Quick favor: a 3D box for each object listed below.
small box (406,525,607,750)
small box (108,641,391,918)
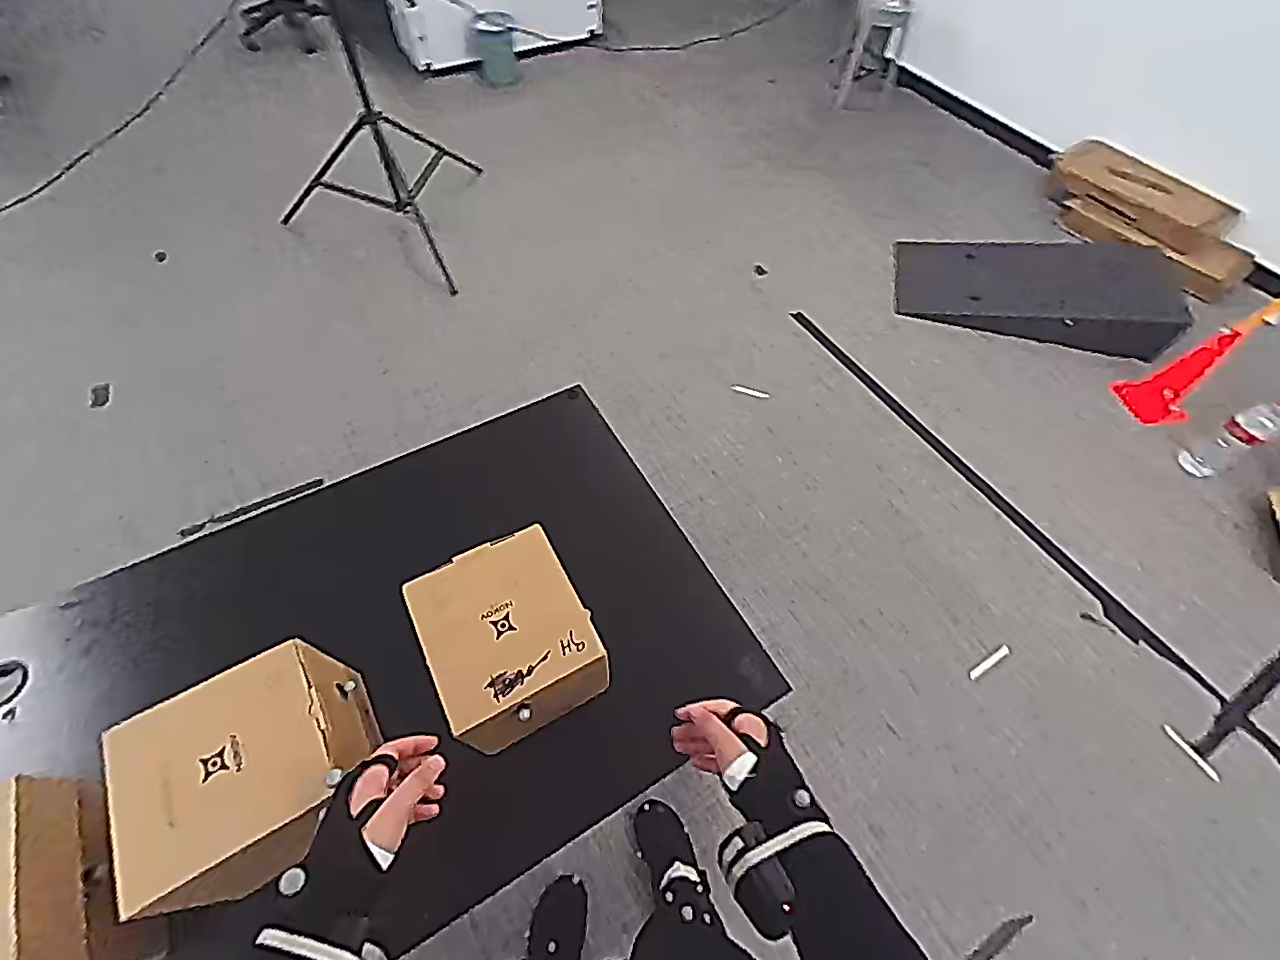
[{"bbox_3d":[-0.149,0.190,0.642,0.168,0.176,0.179,-25,61,-17],"label":"small box"},{"bbox_3d":[-0.385,0.302,0.565,0.179,0.176,0.168,-28,62,-18],"label":"small box"}]
